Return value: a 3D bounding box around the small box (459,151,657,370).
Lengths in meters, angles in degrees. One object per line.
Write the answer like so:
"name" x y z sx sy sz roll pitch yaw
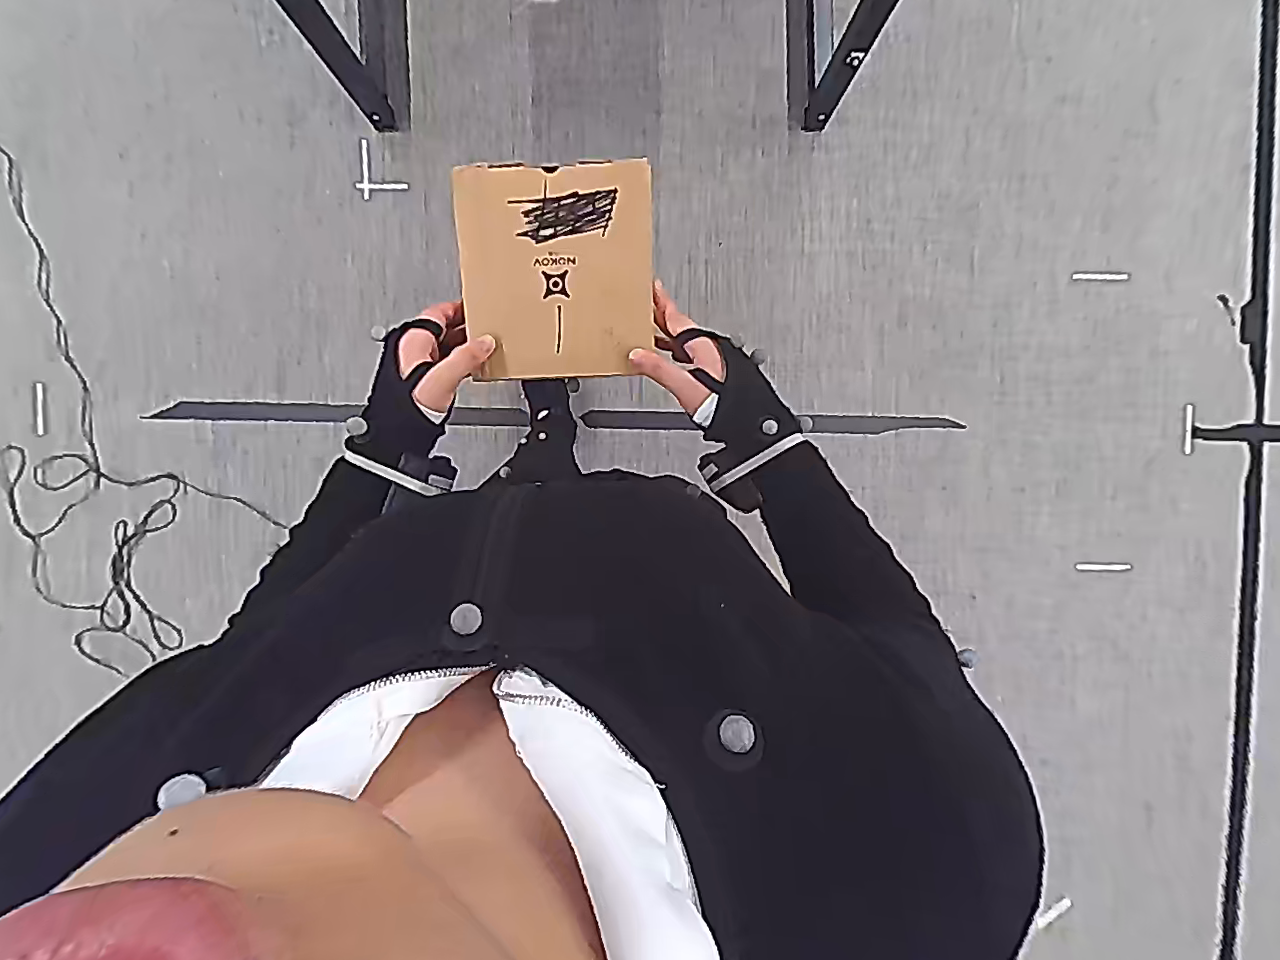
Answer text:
"small box" -0.069 -0.202 0.543 0.168 0.176 0.179 -1 102 1
